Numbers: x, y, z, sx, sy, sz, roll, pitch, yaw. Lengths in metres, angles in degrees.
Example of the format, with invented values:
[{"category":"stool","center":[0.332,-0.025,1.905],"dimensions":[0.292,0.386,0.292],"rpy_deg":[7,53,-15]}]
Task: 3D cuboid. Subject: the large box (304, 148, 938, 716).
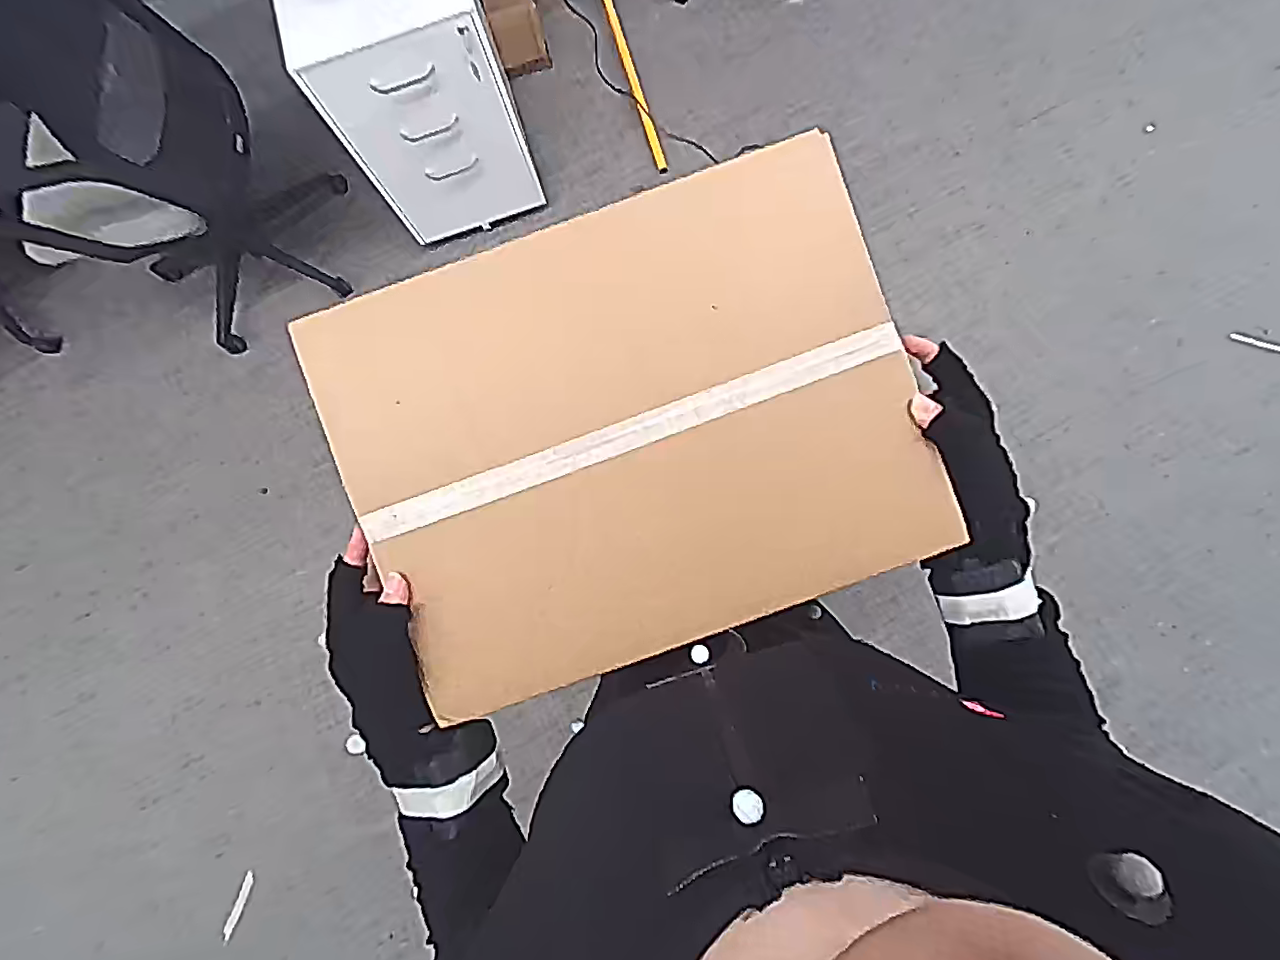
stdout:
[{"category":"large box","center":[-0.011,-0.038,0.548],"dimensions":[0.408,0.320,0.320],"rpy_deg":[-20,91,1]}]
